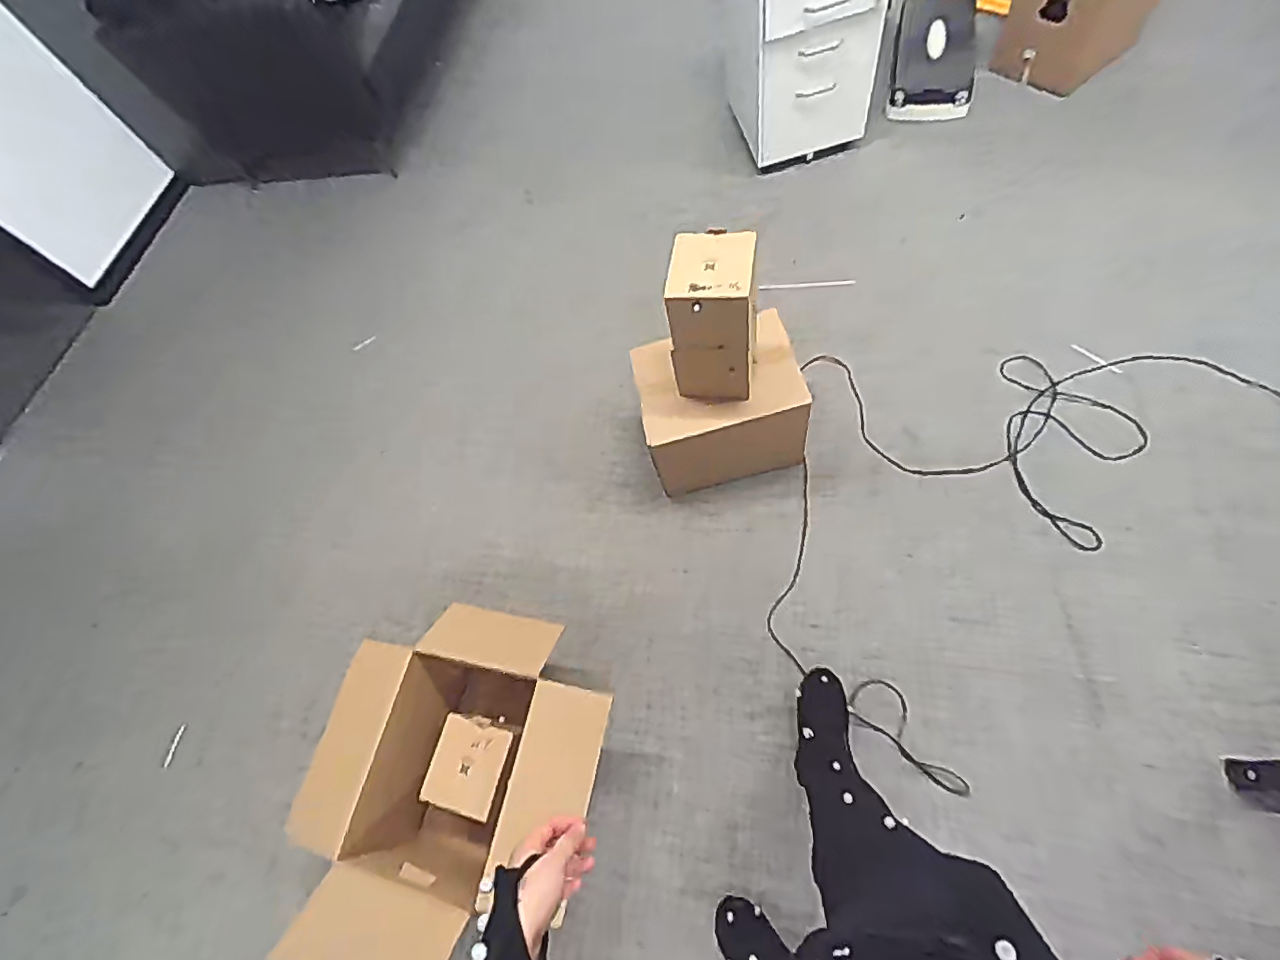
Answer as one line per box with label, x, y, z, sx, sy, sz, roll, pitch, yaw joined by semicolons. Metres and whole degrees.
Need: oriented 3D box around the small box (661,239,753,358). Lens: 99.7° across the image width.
small box;0.150;-0.385;1.154;0.168;0.176;0.179;4;63;15
